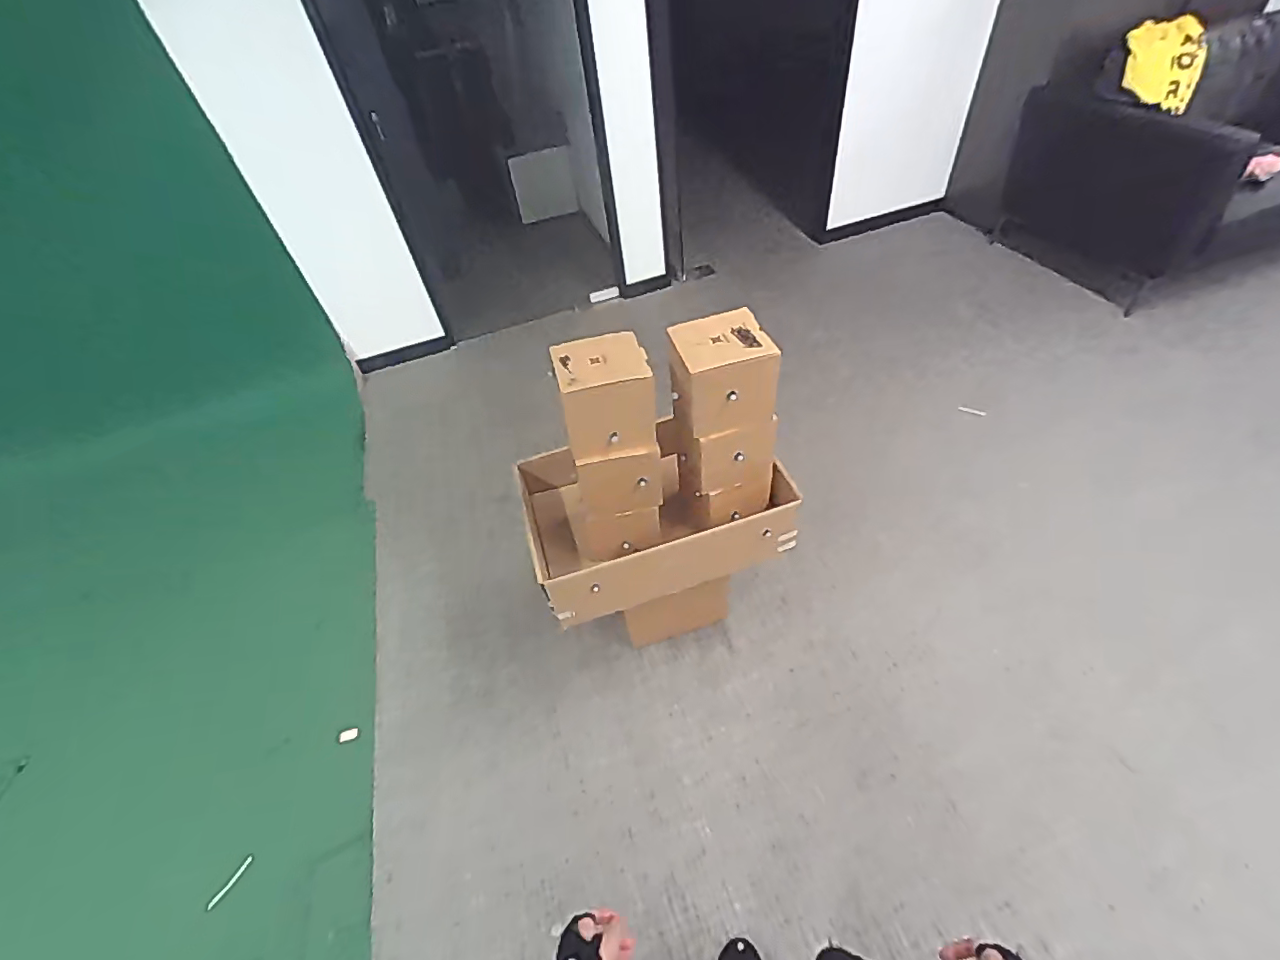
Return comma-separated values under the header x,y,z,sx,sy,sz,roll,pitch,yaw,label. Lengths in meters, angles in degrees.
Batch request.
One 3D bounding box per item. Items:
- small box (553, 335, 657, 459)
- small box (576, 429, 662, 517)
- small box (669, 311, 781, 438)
x,y,z,sx,sy,sz,roll,pitch,yaw,label
-0.070,-0.166,1.091,0.179,0.176,0.168,-11,45,-8,small box
-0.050,-0.039,1.193,0.179,0.176,0.168,-10,46,-5,small box
0.166,-0.211,1.093,0.179,0.176,0.168,-15,48,-4,small box
